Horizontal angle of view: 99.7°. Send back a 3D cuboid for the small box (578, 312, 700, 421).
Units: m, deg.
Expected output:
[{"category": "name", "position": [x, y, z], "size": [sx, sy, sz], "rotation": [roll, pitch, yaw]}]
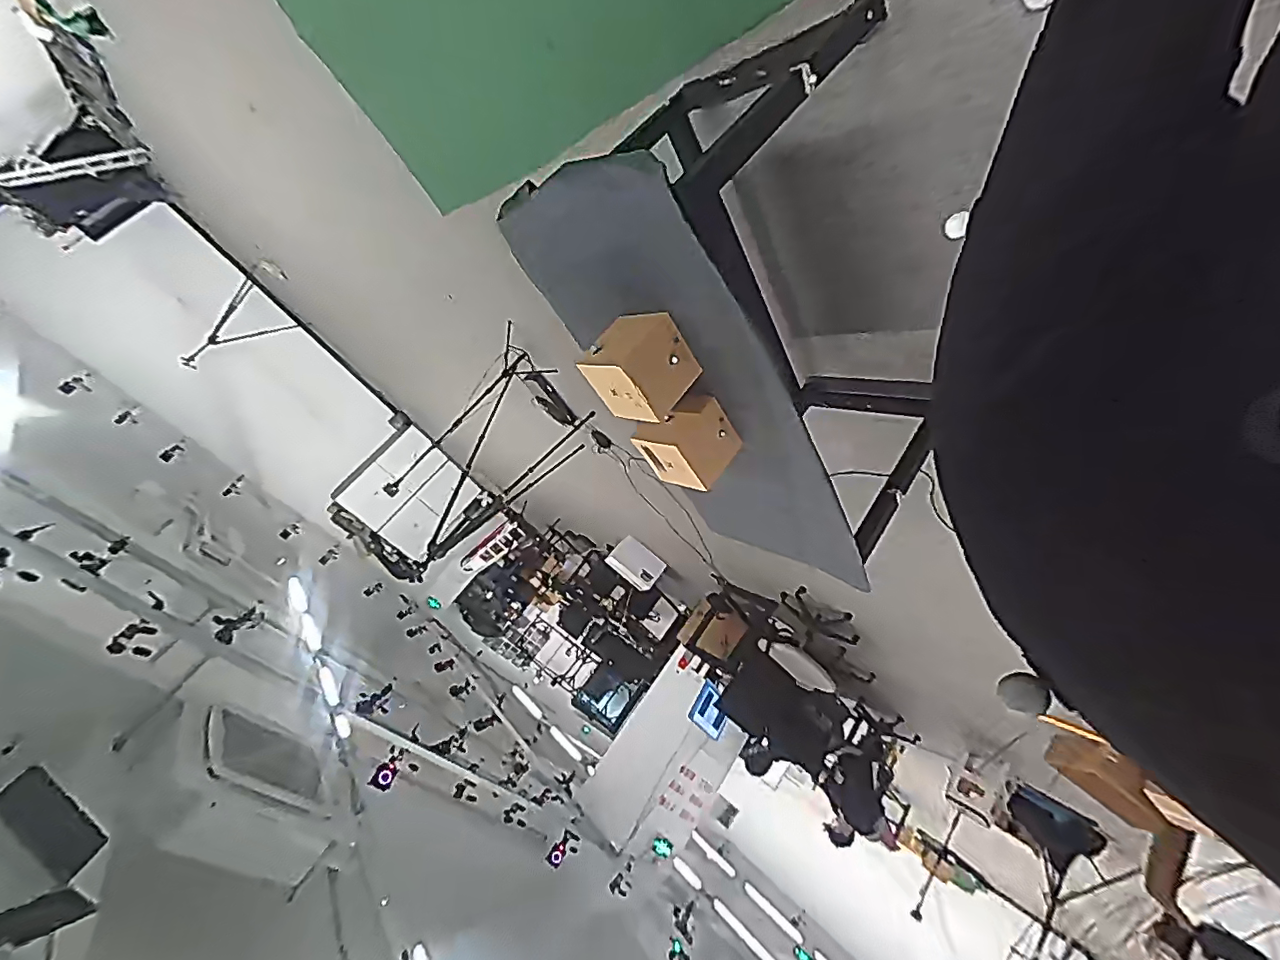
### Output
[{"category": "small box", "position": [0.001, -0.257, 1.212], "size": [0.179, 0.176, 0.168], "rotation": [16, 152, 50]}]
